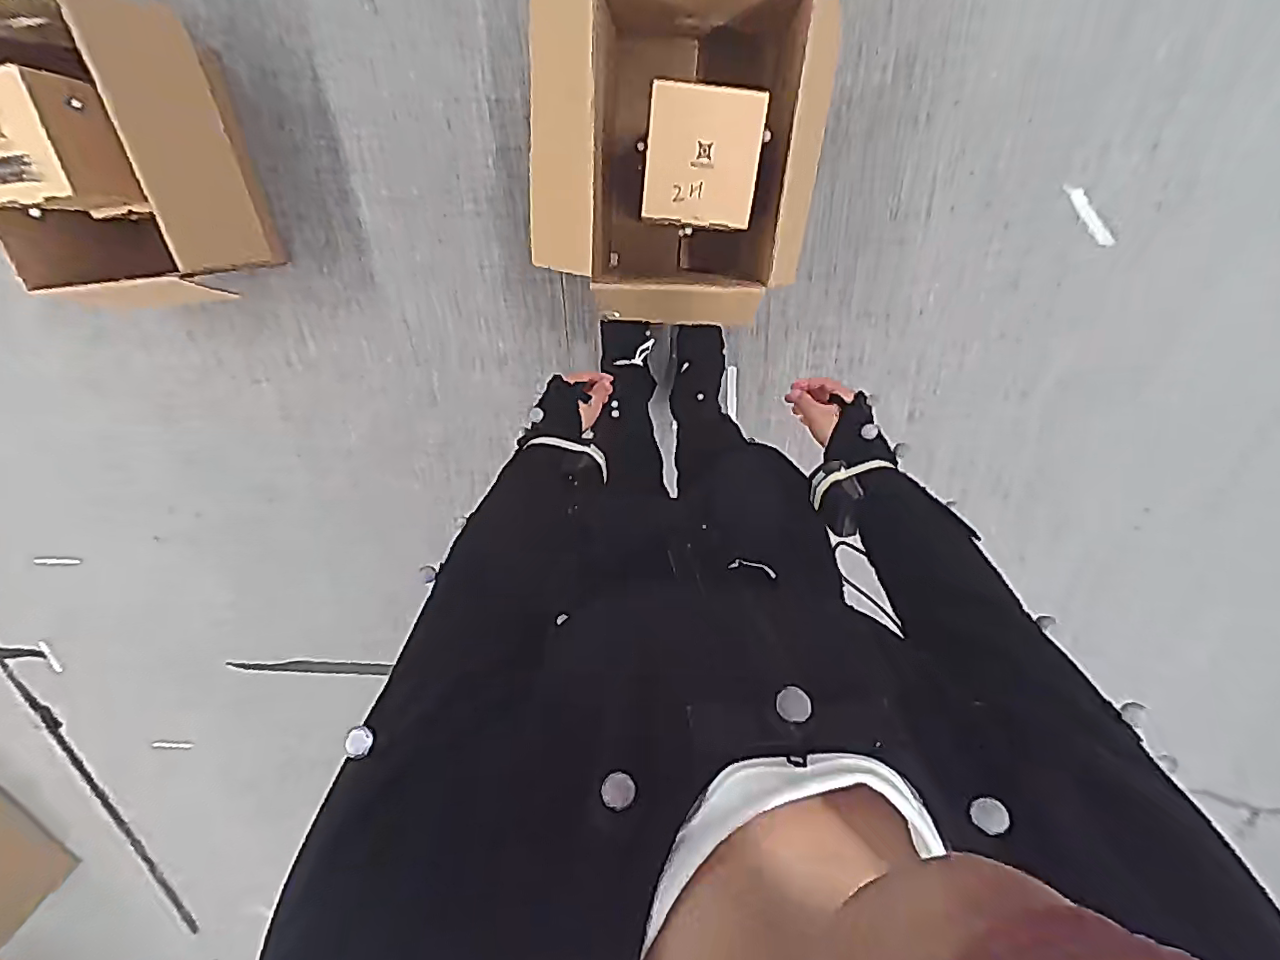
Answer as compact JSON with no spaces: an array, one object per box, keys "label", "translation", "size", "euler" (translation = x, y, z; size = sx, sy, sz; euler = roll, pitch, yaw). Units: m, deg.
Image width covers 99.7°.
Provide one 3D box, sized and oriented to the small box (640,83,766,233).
[{"label":"small box","translation":[0.090,-0.503,0.869],"size":[0.168,0.176,0.179],"euler":[5,114,-2]}]
